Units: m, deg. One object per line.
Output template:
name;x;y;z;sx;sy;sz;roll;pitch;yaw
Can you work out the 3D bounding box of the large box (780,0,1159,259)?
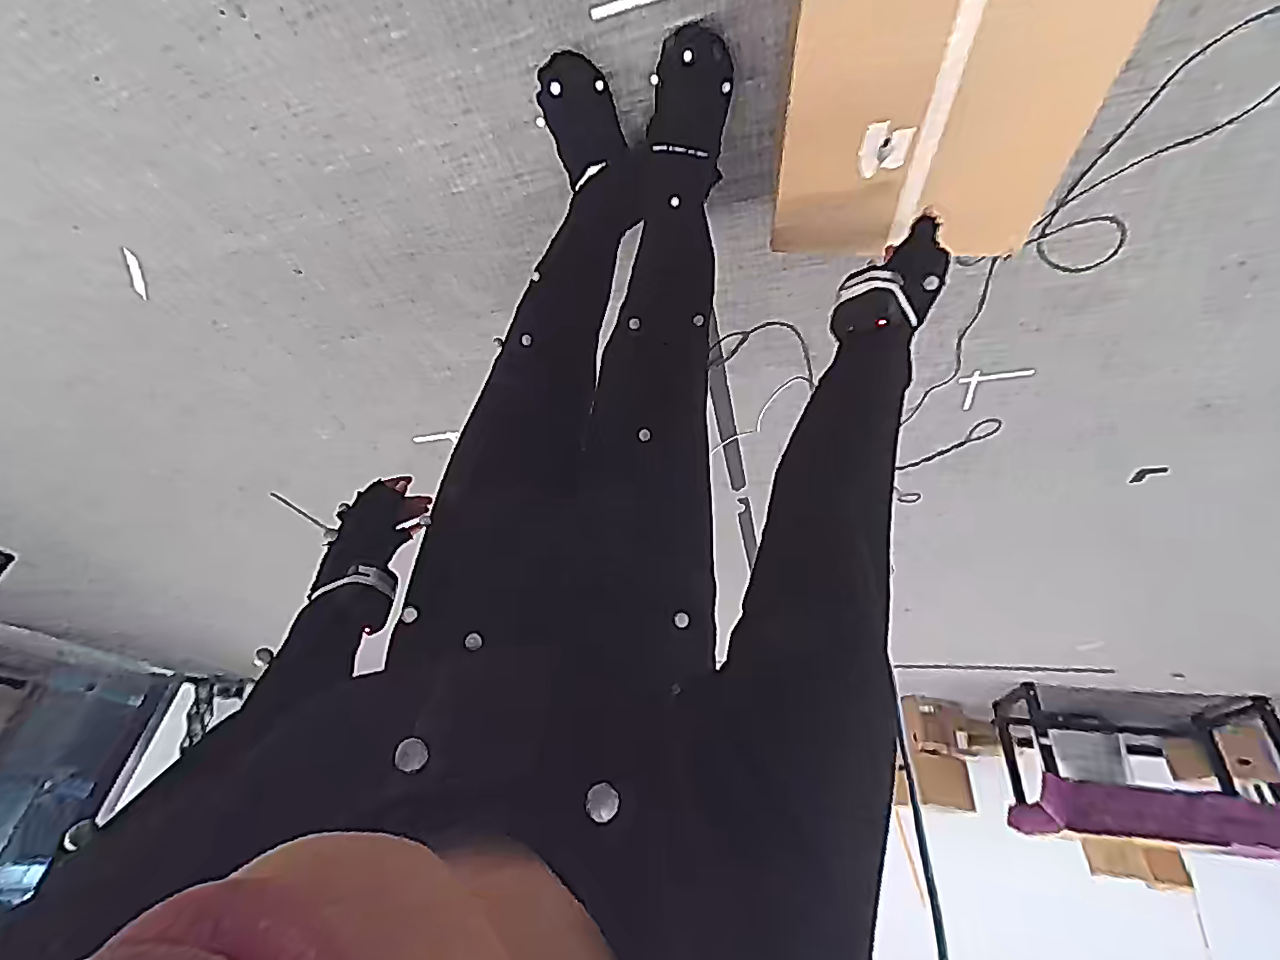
large box;0.354;-0.541;0.651;0.320;0.320;0.408;7;149;10
